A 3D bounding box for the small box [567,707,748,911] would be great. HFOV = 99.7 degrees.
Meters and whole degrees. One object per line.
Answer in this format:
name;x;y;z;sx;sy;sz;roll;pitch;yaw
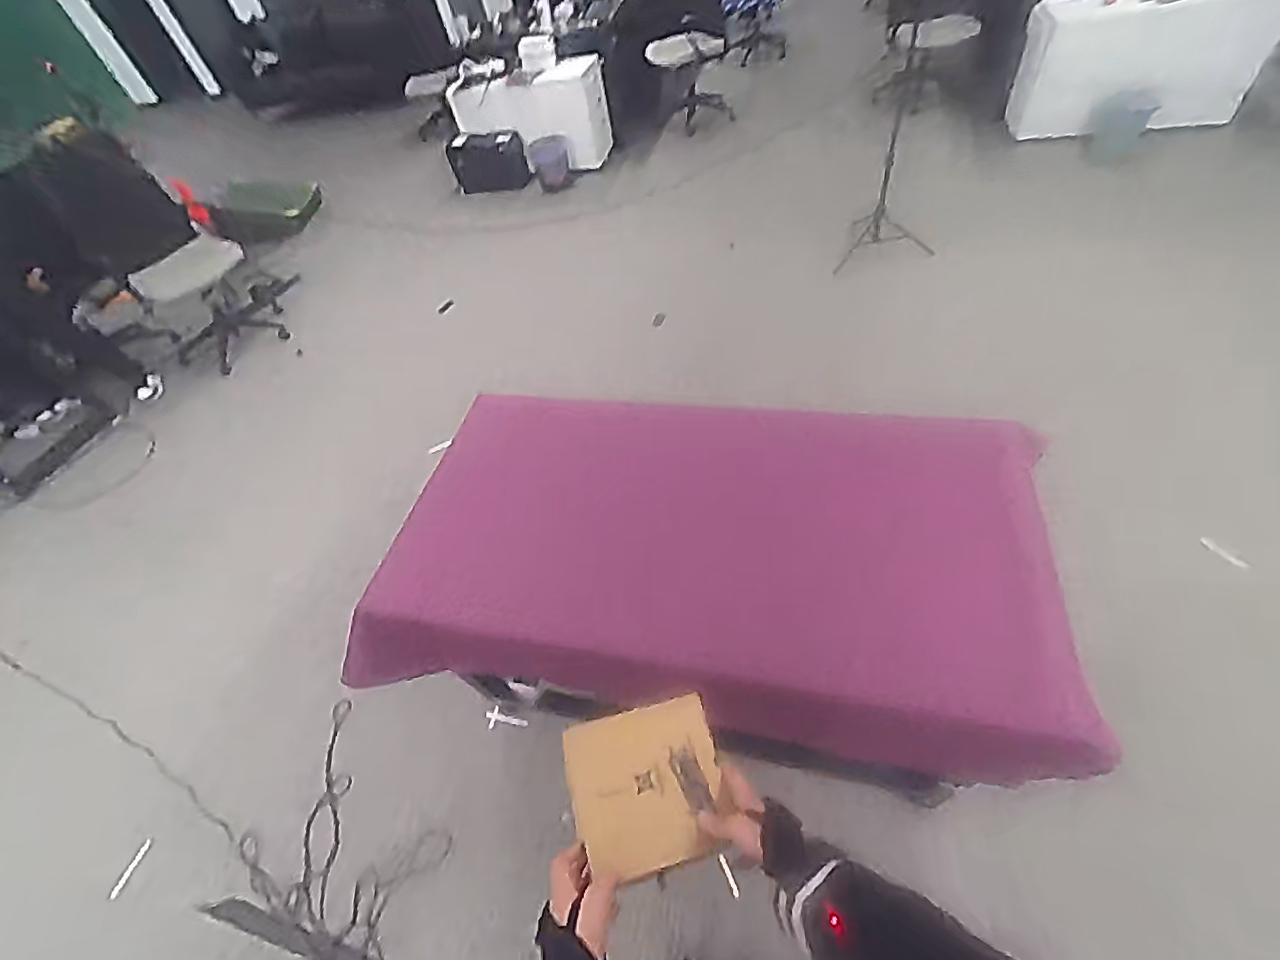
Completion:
small box;0.009;0.413;0.680;0.179;0.176;0.168;-10;51;-14
